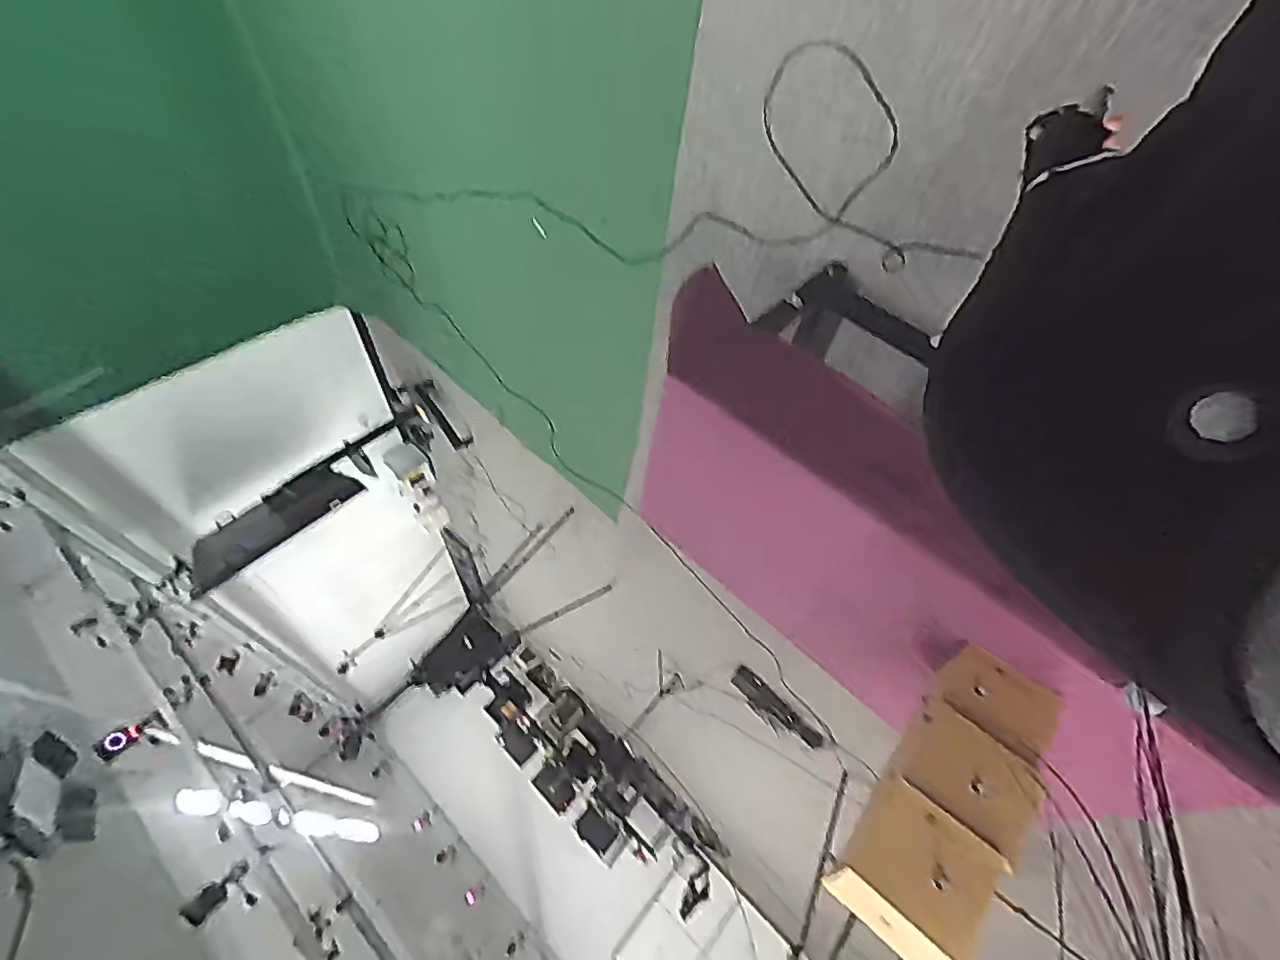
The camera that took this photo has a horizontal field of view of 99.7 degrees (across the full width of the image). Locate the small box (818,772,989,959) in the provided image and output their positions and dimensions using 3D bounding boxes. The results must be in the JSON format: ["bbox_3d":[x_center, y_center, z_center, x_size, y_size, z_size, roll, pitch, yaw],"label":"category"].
[{"bbox_3d":[0.412,0.597,0.849,0.168,0.176,0.179,34,148,28],"label":"small box"}]

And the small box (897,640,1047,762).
[{"bbox_3d":[0.634,0.440,1.032,0.168,0.176,0.179,37,149,25],"label":"small box"}]

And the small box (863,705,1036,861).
[{"bbox_3d":[0.527,0.518,0.933,0.179,0.176,0.168,36,148,25],"label":"small box"}]
